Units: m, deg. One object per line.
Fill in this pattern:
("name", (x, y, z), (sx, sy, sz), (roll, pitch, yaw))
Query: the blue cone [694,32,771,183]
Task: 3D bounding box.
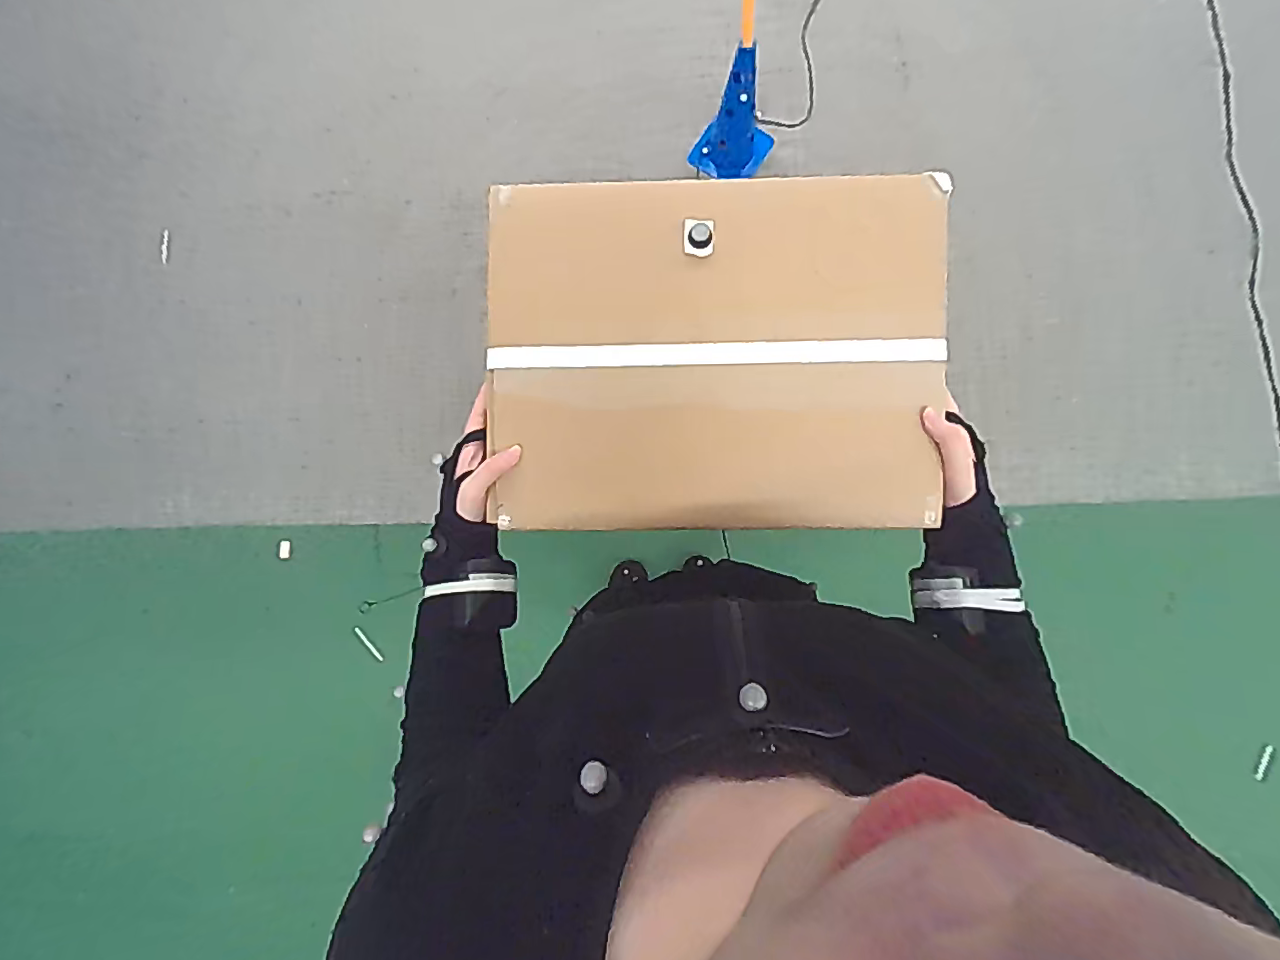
("blue cone", (0.263, -1.000, 1.435), (0.192, 0.380, 0.193), (31, 88, 6))
